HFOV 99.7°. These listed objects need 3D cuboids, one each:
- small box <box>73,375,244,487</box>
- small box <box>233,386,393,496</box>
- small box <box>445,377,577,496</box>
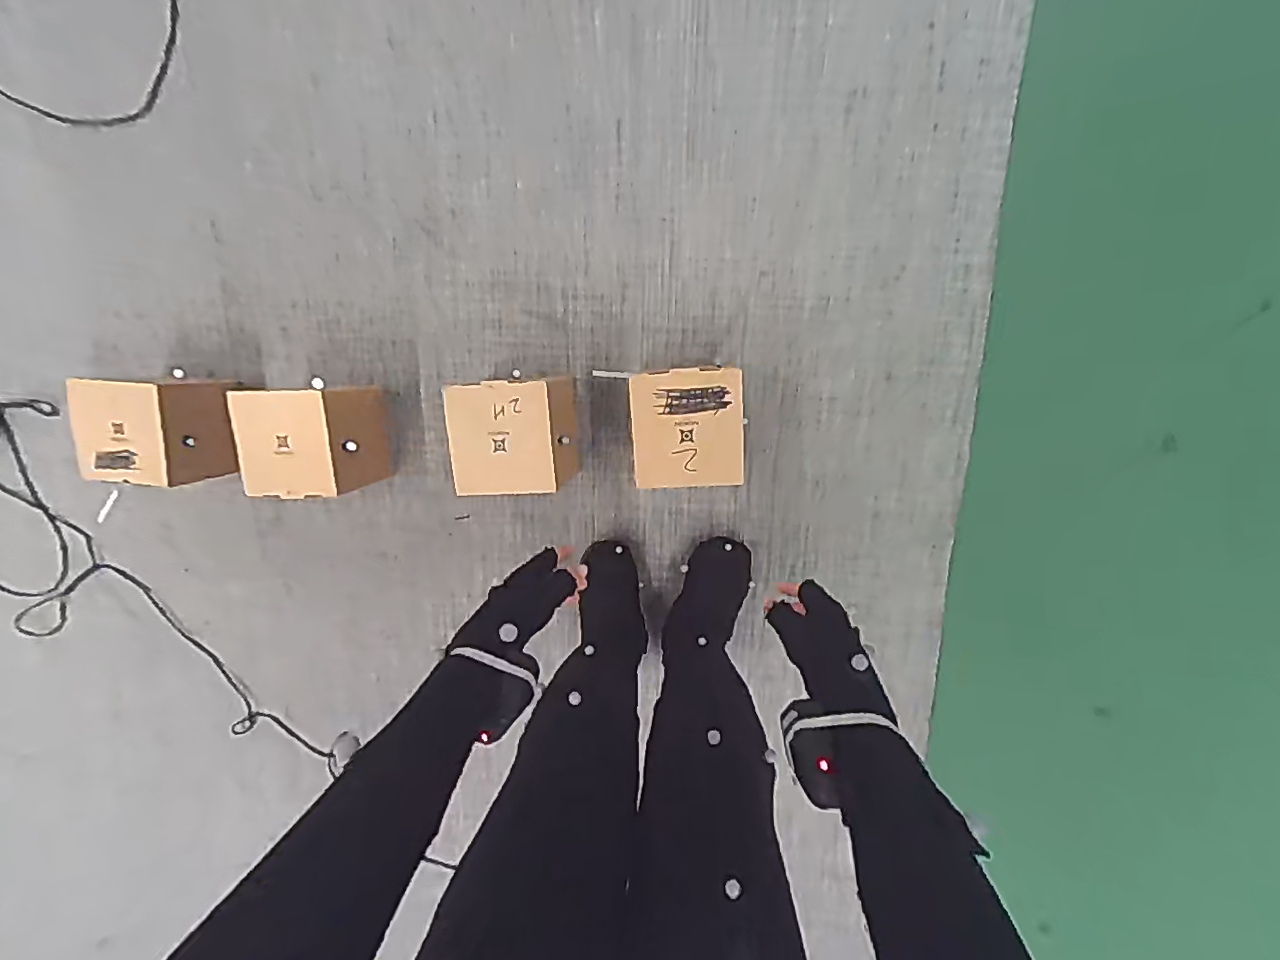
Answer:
[{"bbox_3d":[-0.853,-0.095,0.980,0.168,0.176,0.179,5,102,5],"label":"small box"},{"bbox_3d":[-0.564,-0.076,0.955,0.168,0.176,0.179,0,103,6],"label":"small box"},{"bbox_3d":[-0.206,-0.079,0.914,0.168,0.176,0.179,-2,102,6],"label":"small box"}]
